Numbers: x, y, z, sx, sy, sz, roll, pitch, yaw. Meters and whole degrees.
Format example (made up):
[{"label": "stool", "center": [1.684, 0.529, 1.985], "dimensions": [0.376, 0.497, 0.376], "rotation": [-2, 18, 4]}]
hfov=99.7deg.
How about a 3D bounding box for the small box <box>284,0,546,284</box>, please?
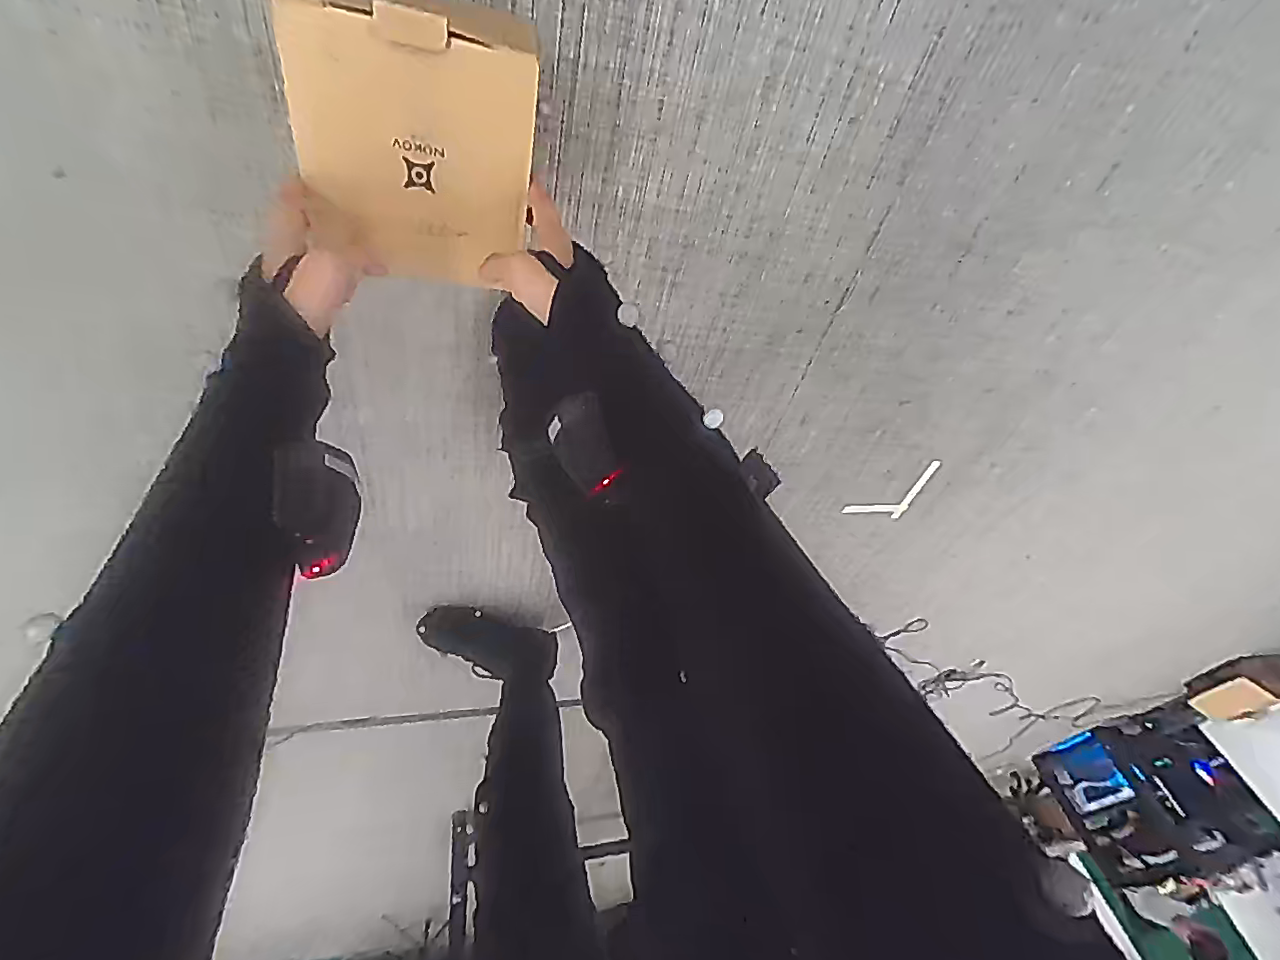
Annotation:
[{"label": "small box", "center": [-0.177, -0.298, 0.465], "dimensions": [0.168, 0.176, 0.179], "rotation": [4, 134, -16]}]
